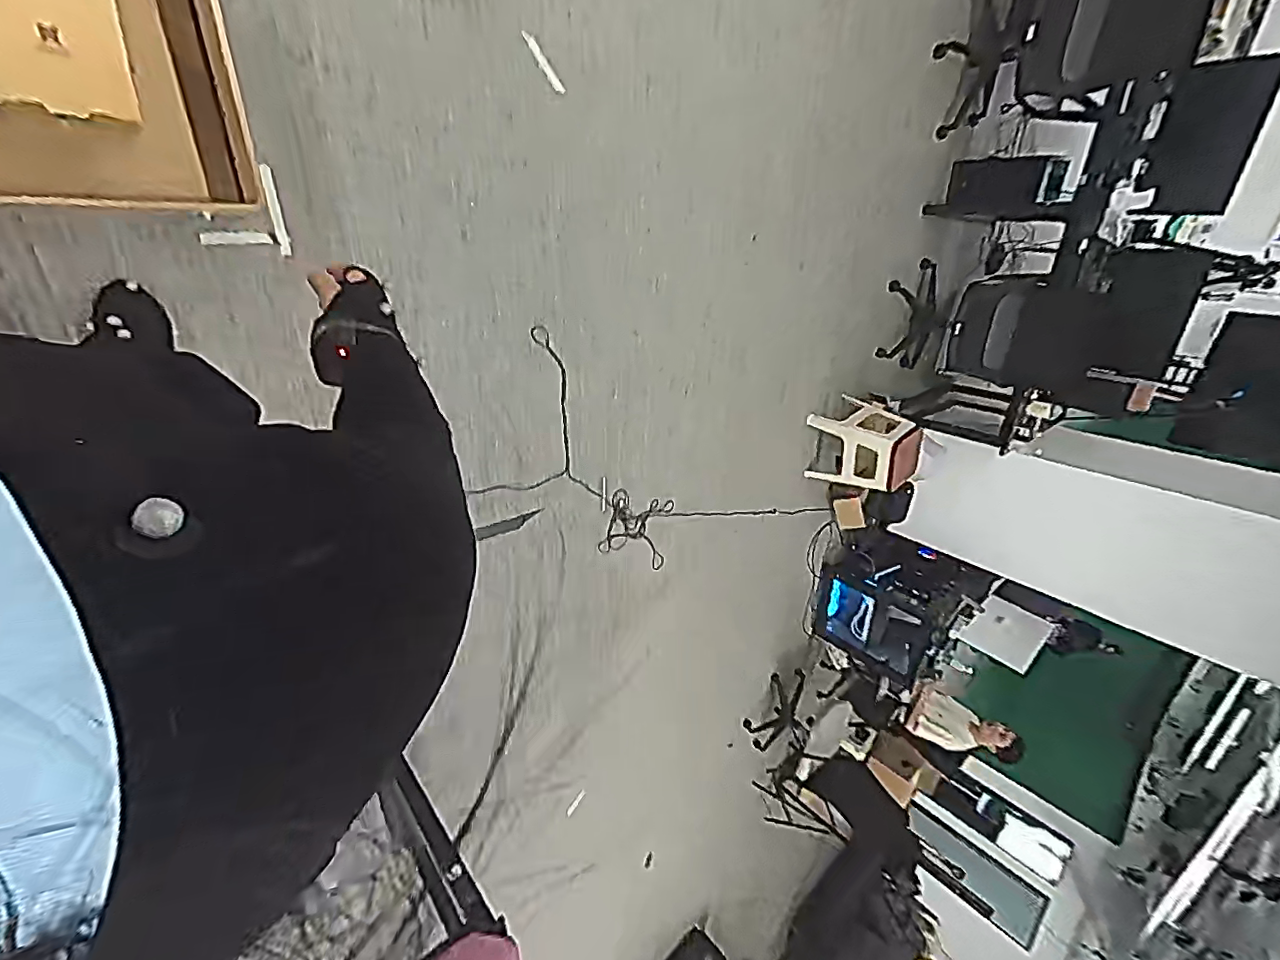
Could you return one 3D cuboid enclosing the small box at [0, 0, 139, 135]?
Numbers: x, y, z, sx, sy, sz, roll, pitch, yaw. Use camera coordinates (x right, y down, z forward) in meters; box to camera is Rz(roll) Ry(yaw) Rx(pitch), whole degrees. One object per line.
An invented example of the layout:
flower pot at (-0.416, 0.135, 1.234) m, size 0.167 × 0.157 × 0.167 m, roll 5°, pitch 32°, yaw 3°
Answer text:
small box at (-0.893, -0.651, 0.821) m, size 0.168 × 0.176 × 0.179 m, roll -13°, pitch 118°, yaw -40°
